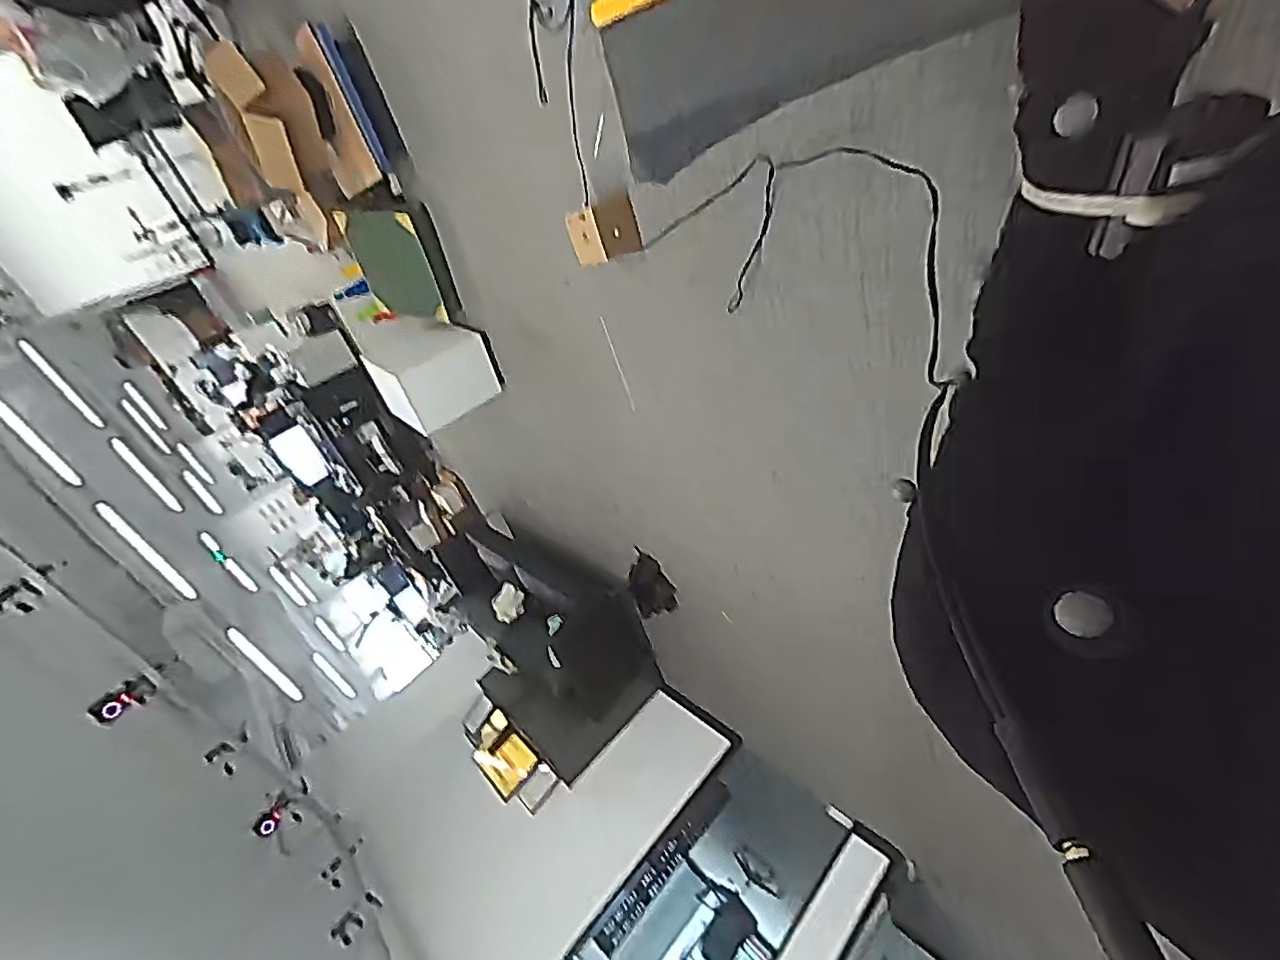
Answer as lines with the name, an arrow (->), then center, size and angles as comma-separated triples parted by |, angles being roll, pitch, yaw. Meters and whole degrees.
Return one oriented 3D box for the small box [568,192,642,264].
small box -> -0.117, -0.881, 1.891 | 0.168, 0.176, 0.179 | 16, 135, 48
